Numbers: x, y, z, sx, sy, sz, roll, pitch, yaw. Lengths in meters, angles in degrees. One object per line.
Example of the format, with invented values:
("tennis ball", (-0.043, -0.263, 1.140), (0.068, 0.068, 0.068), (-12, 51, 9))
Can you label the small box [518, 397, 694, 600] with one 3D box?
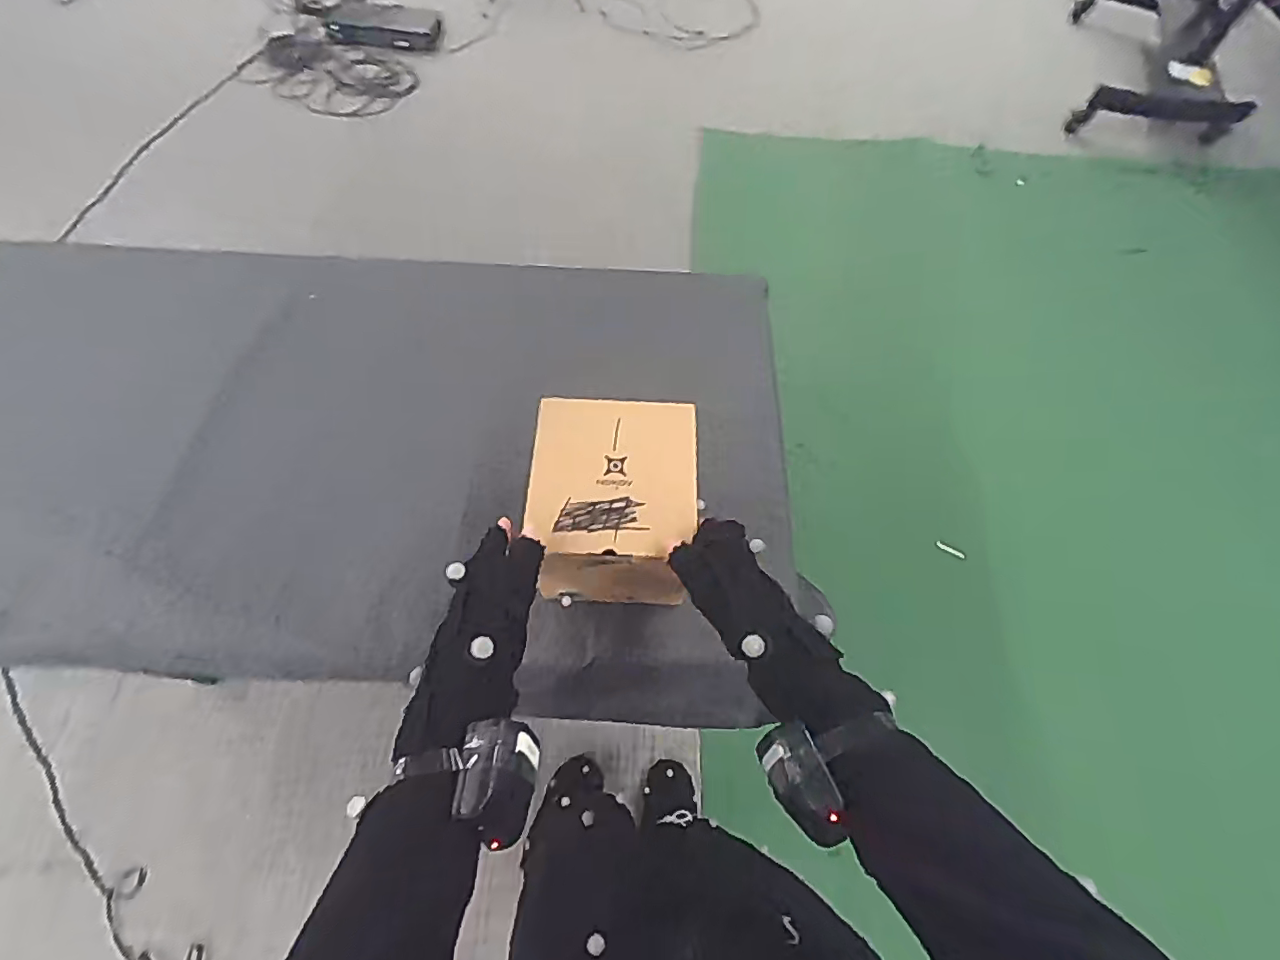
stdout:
("small box", (-0.029, 0.029, 0.604), (0.168, 0.176, 0.179), (3, 63, -1))
